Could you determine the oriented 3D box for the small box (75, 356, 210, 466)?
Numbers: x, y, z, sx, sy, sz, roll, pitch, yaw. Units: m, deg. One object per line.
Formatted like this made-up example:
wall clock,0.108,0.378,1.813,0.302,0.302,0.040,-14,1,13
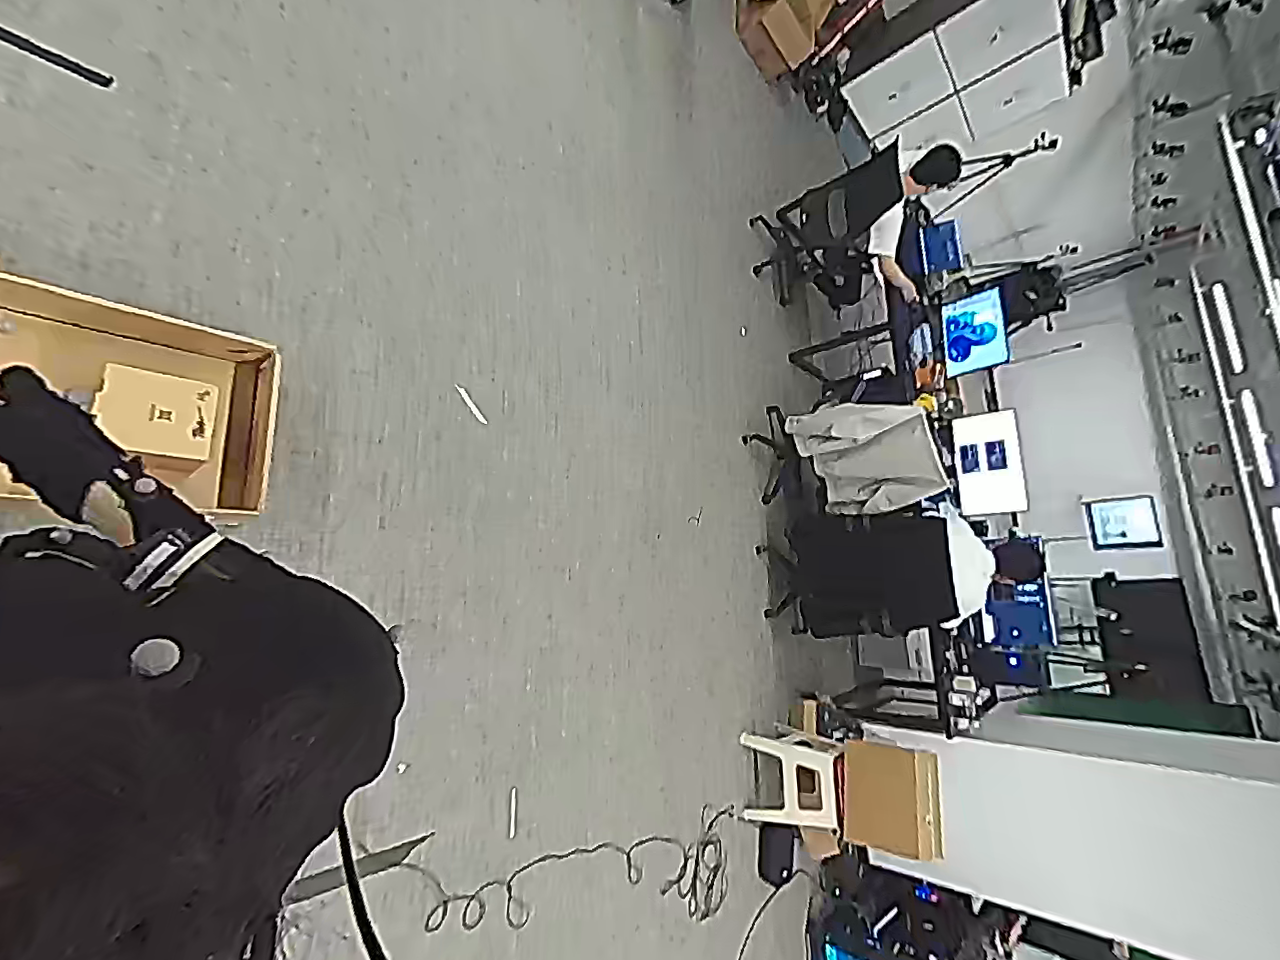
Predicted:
small box,-1.014,-0.130,1.102,0.179,0.176,0.168,12,74,-46
